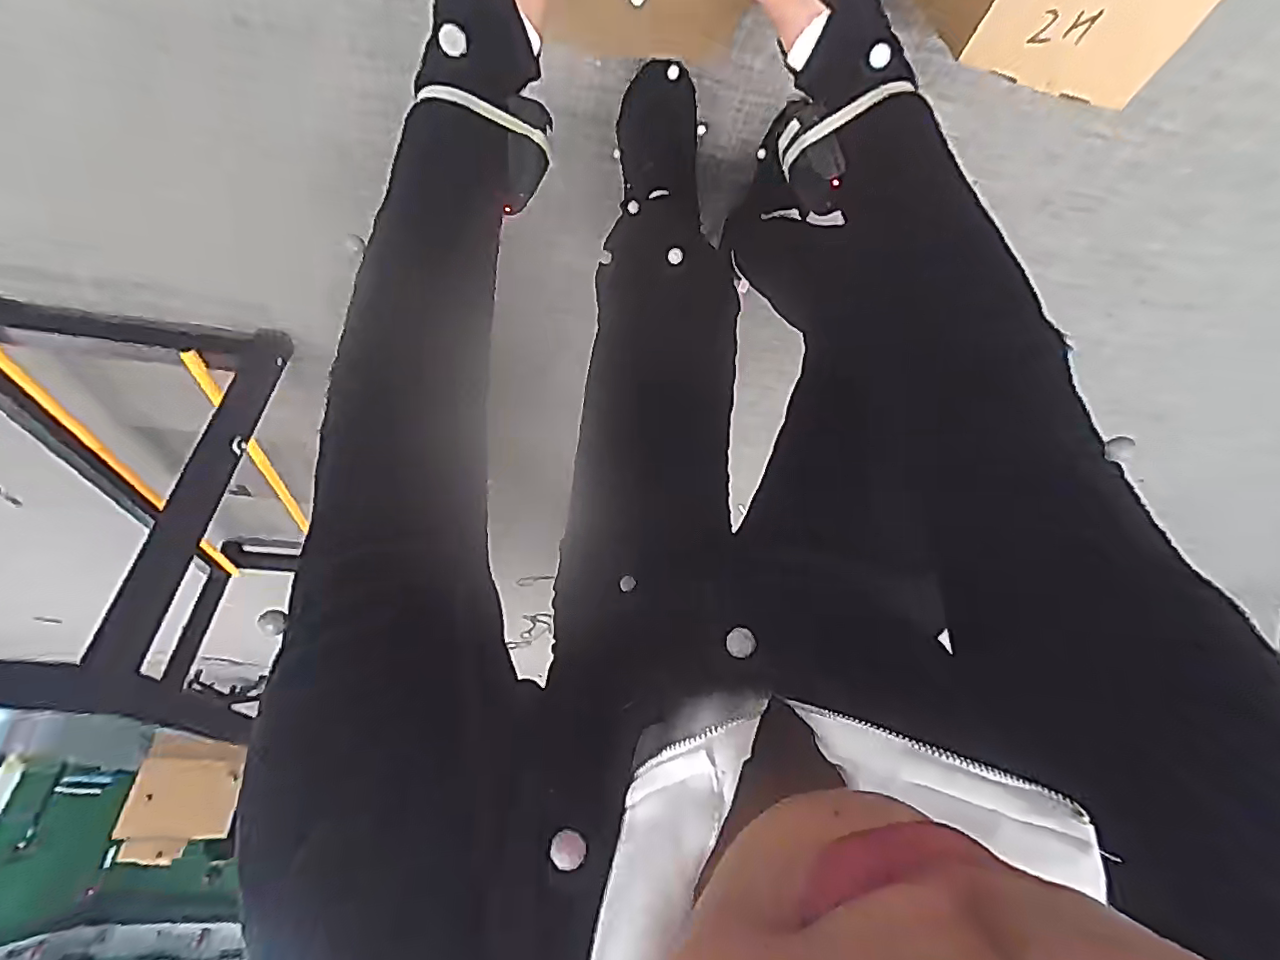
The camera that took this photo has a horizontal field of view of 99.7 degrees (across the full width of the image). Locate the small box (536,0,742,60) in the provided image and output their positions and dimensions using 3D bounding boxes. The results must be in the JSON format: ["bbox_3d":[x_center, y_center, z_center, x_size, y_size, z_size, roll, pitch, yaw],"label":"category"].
[{"bbox_3d":[0.002,-0.465,0.425,0.179,0.176,0.168,-3,107,-9],"label":"small box"}]

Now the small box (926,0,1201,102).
[{"bbox_3d":[0.348,-0.450,0.423,0.168,0.176,0.179,7,148,-11],"label":"small box"}]

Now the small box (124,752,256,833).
[{"bbox_3d":[-1.122,0.789,1.366,0.179,0.176,0.168,5,149,-8],"label":"small box"}]
